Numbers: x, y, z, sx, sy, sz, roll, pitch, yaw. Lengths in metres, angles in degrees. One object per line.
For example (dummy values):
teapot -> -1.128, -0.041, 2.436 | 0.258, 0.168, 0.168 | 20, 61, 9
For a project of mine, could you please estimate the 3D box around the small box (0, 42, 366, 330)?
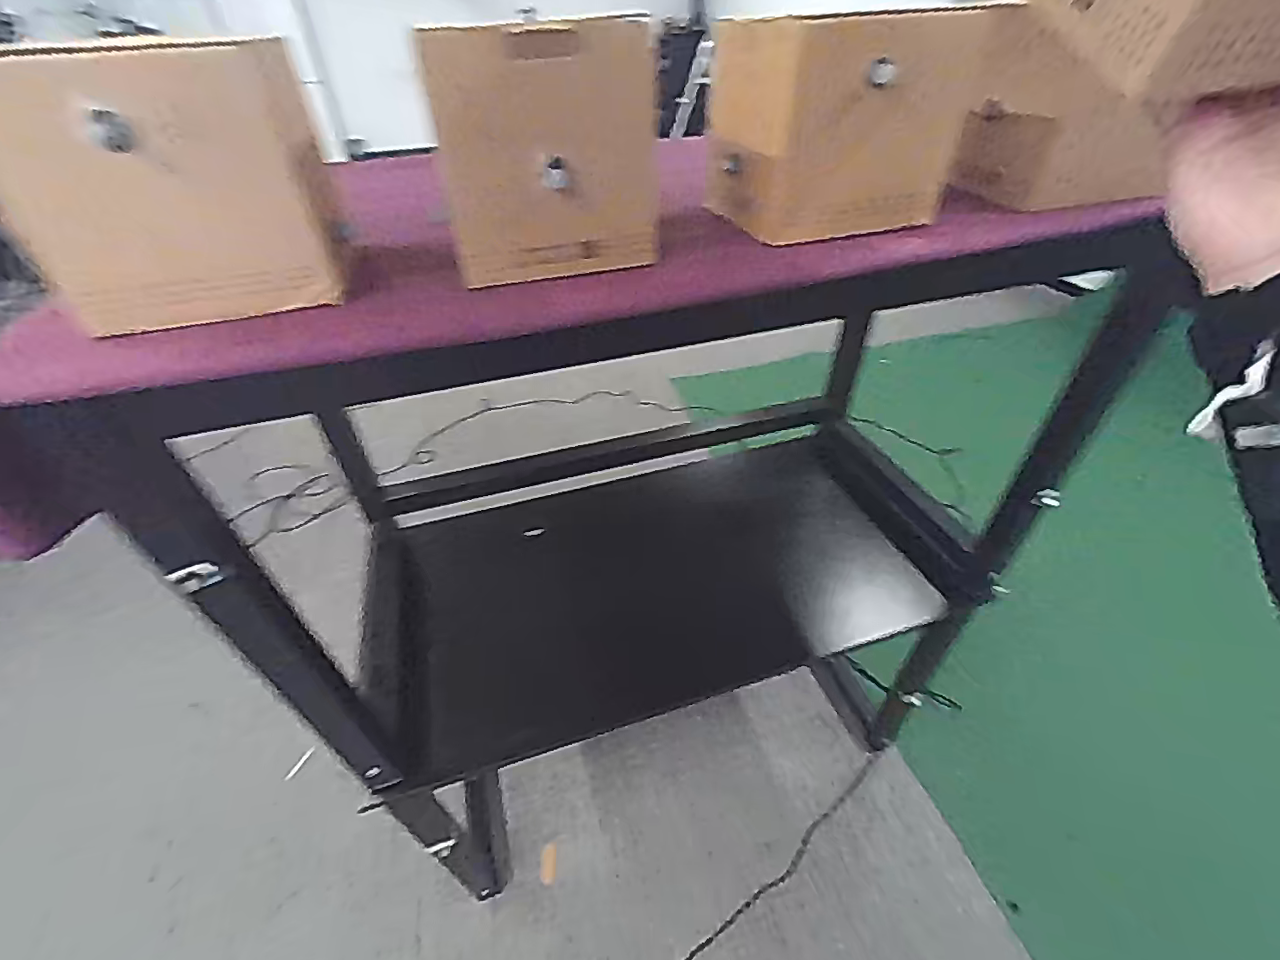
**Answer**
small box -> -0.339, -0.230, 0.422 | 0.179, 0.176, 0.168 | -12, 41, -13

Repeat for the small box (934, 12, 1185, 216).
small box -> 0.456, -0.402, 0.593 | 0.179, 0.176, 0.168 | -10, 43, -9

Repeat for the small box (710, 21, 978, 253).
small box -> 0.180, -0.344, 0.539 | 0.179, 0.176, 0.168 | -13, 41, -11

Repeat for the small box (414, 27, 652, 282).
small box -> -0.090, -0.285, 0.479 | 0.168, 0.176, 0.179 | -13, 41, -12
